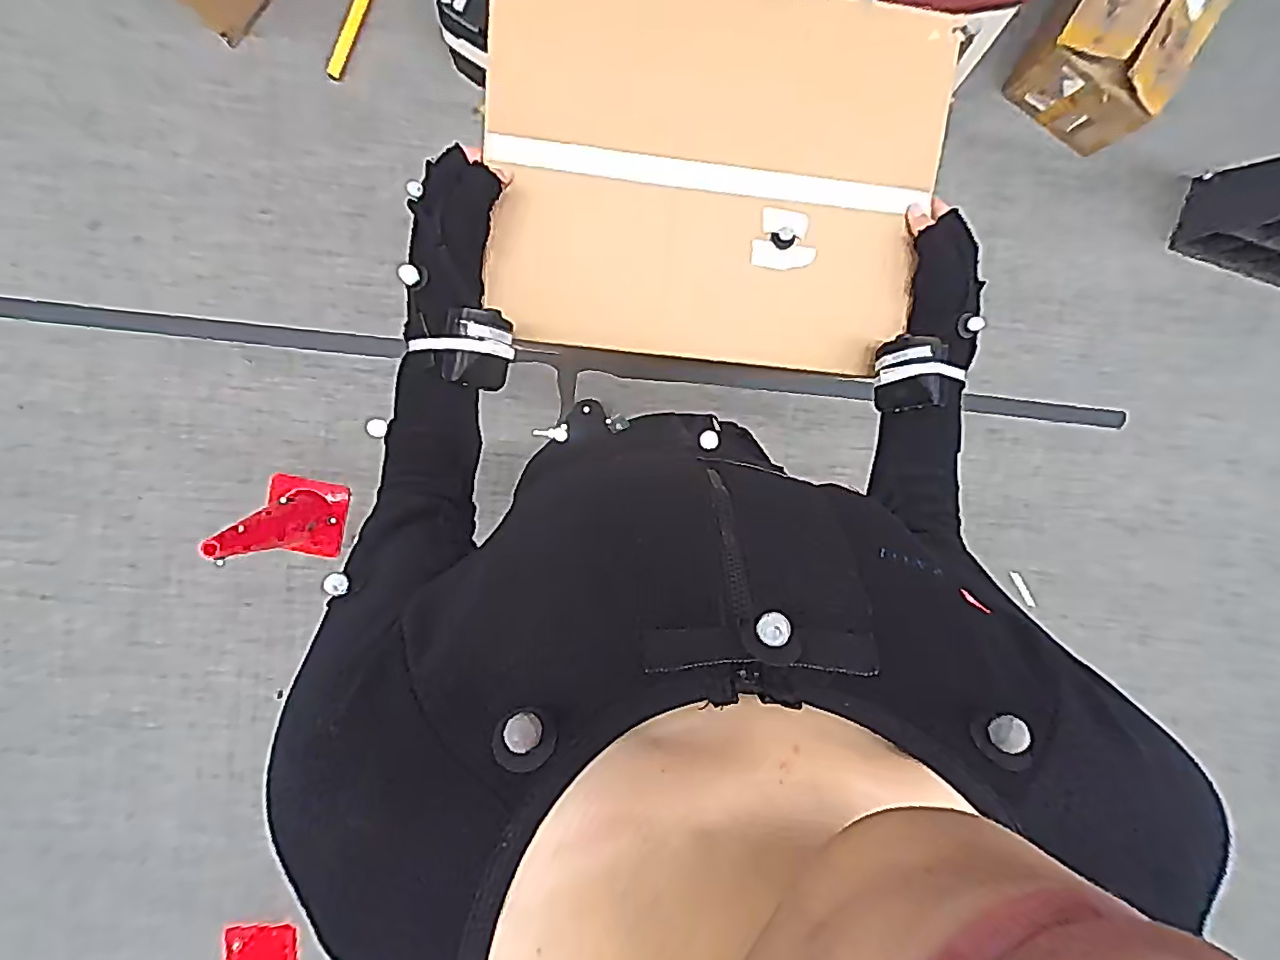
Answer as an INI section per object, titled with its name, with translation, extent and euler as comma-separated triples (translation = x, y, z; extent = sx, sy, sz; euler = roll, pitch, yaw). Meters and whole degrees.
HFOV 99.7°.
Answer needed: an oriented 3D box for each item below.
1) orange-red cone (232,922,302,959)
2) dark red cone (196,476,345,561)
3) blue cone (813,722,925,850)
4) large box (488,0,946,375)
[orange-red cone]
translation = -1.068, 1.393, 1.393
extent = 0.198, 0.360, 0.199
euler = 3, 98, -3
[dark red cone]
translation = -0.860, 0.119, 1.235
extent = 0.201, 0.394, 0.202
euler = 11, 96, -6
[blue cone]
translation = 0.631, 0.838, 1.460
extent = 0.192, 0.380, 0.193
euler = 9, 96, -6
[large box]
translation = 0.053, -0.297, 0.635
extent = 0.408, 0.320, 0.320
euler = 5, 101, -6
